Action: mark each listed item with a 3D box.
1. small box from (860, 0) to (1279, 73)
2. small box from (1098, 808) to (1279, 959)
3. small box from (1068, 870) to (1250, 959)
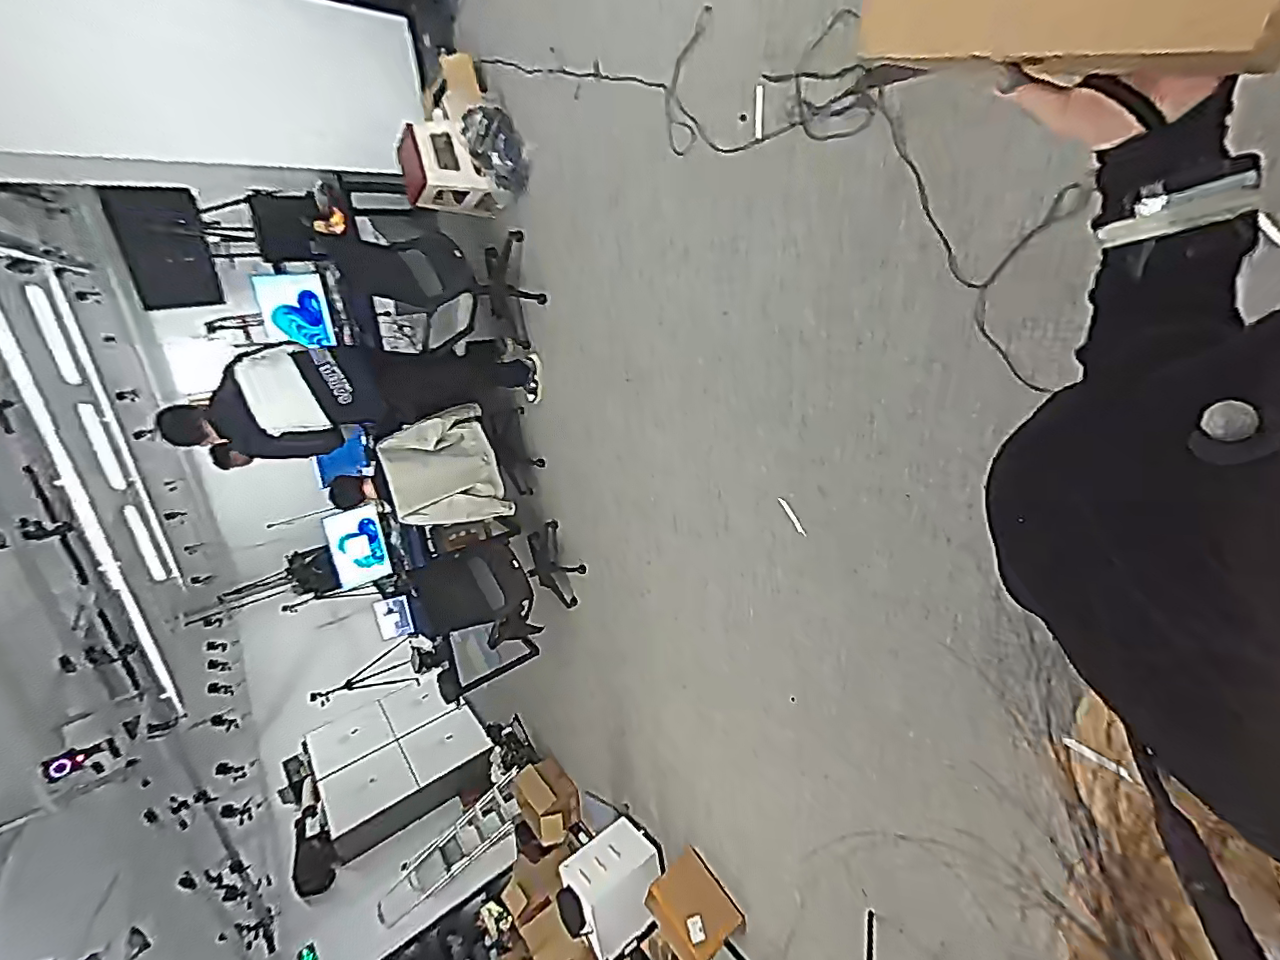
[{"bbox_3d":[0.248,-0.307,0.265,0.179,0.176,0.168,32,136,35],"label":"small box"},{"bbox_3d":[0.866,0.680,0.867,0.168,0.176,0.179,29,128,45],"label":"small box"},{"bbox_3d":[0.737,0.721,0.777,0.168,0.176,0.179,26,127,46],"label":"small box"}]
